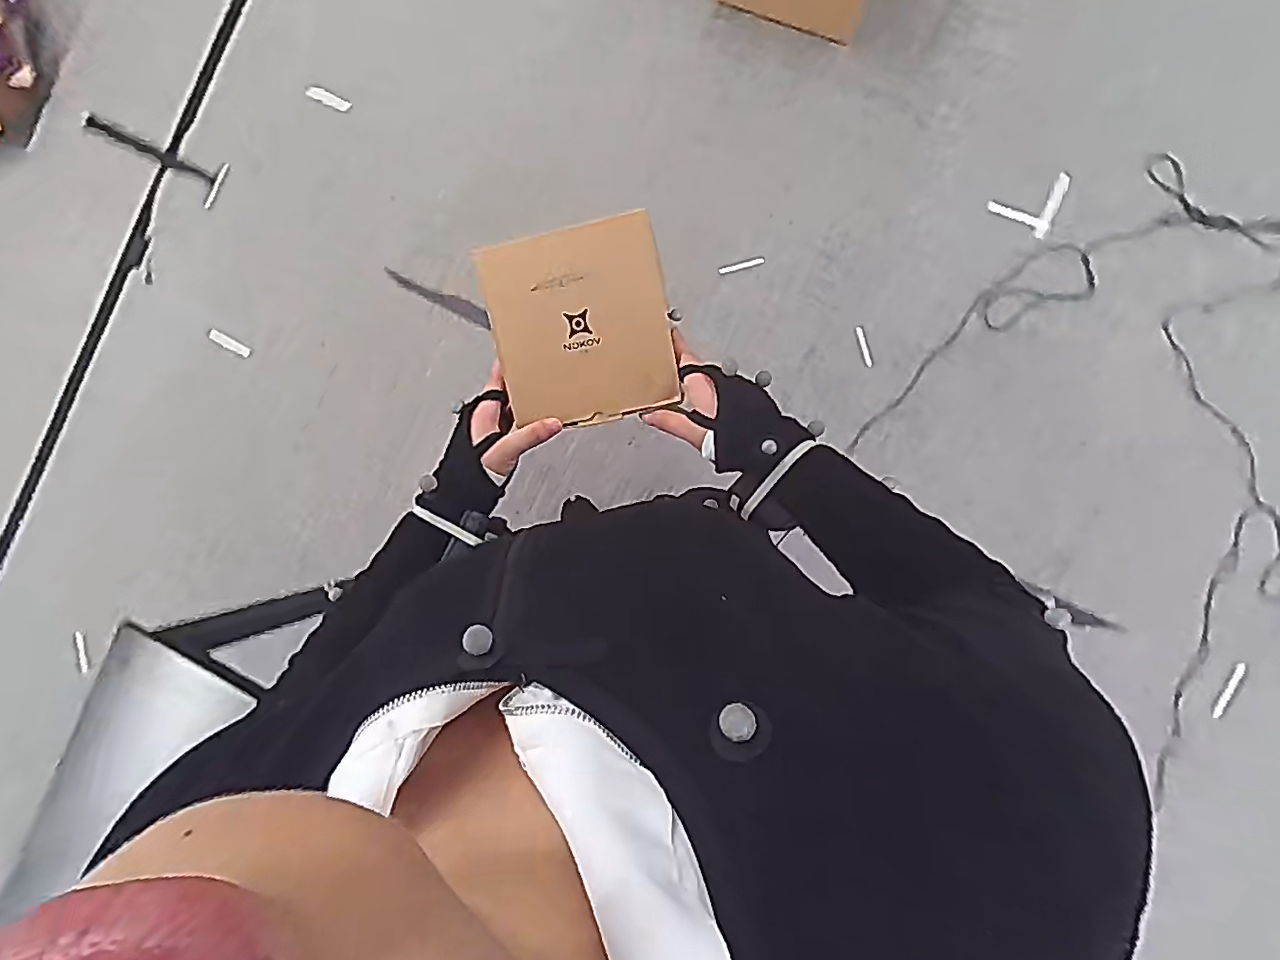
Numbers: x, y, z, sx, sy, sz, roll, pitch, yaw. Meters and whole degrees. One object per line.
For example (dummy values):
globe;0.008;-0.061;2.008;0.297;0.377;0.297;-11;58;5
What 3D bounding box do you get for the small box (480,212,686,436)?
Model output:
small box;-0.044;-0.155;0.570;0.168;0.176;0.179;-10;101;6
